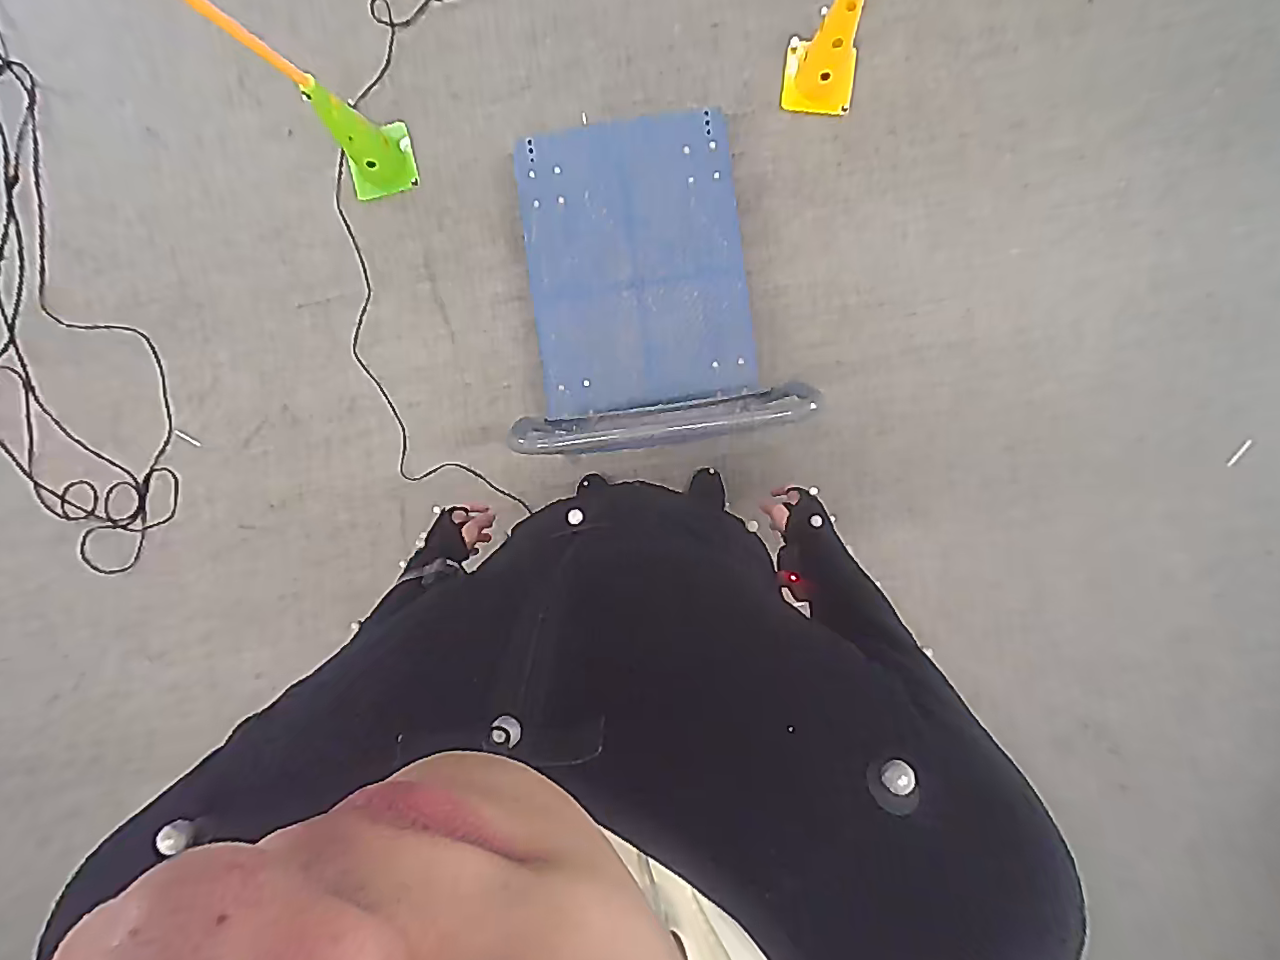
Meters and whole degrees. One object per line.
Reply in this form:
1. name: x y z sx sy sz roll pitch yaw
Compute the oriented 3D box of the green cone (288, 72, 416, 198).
1. green cone: -0.806 -0.971 1.471 0.202 0.368 0.200 -14 91 5
